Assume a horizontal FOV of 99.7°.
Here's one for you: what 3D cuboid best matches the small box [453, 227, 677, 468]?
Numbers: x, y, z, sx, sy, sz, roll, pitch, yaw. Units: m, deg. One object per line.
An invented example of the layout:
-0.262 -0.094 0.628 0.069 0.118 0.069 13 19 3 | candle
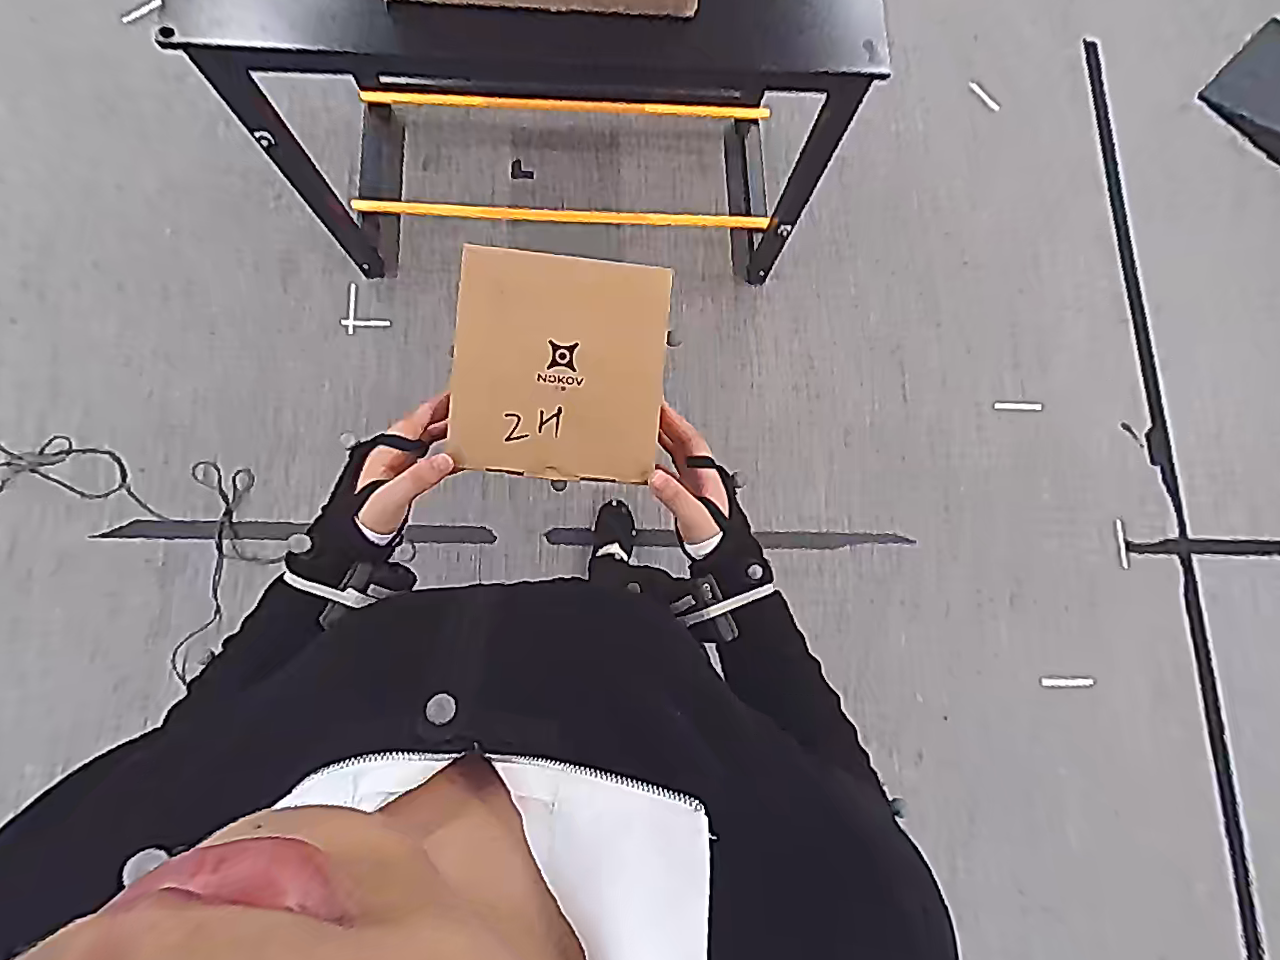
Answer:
-0.064 -0.105 0.505 0.168 0.176 0.179 5 91 -4 | small box
